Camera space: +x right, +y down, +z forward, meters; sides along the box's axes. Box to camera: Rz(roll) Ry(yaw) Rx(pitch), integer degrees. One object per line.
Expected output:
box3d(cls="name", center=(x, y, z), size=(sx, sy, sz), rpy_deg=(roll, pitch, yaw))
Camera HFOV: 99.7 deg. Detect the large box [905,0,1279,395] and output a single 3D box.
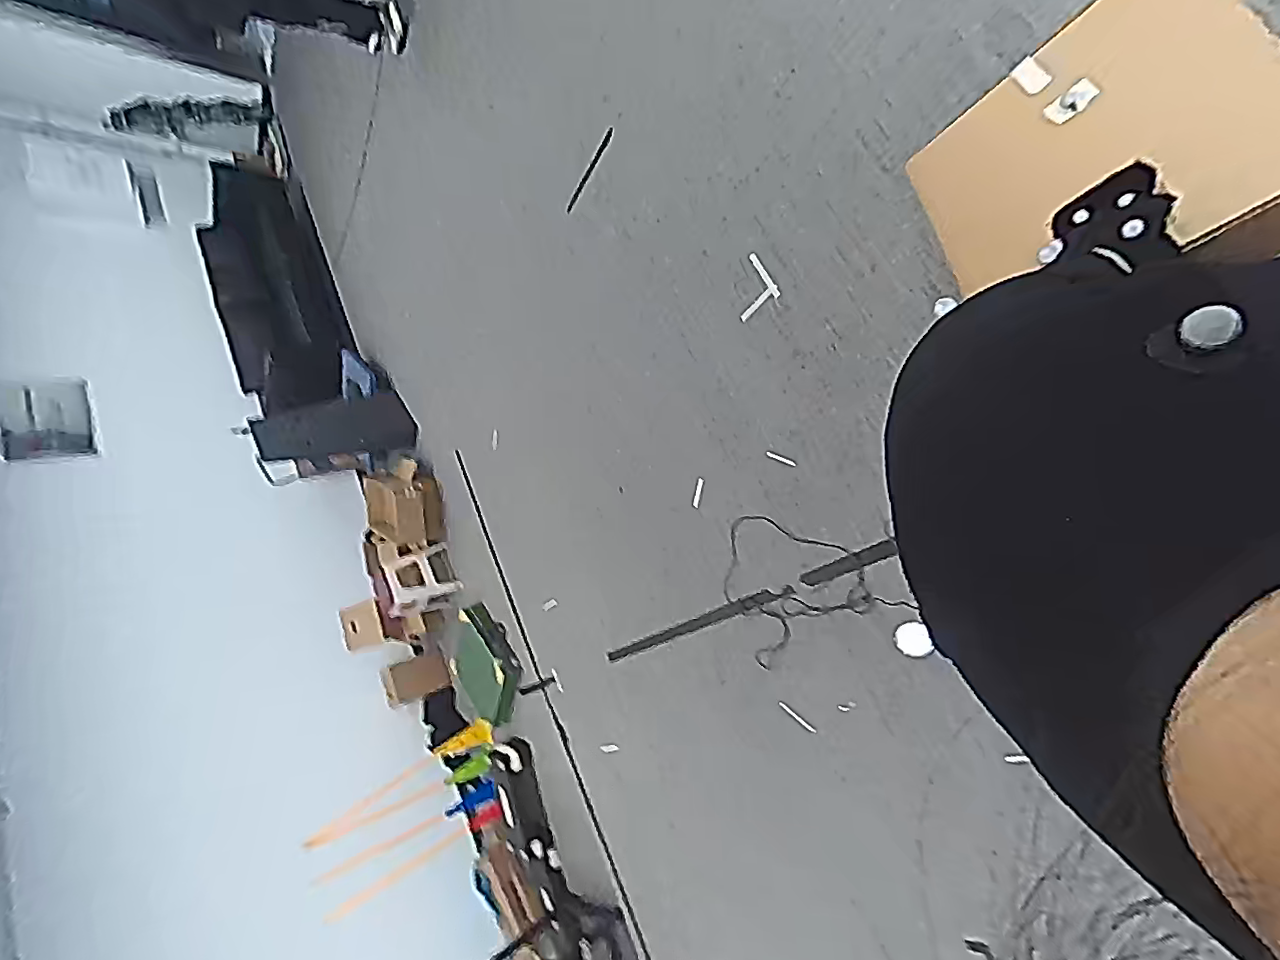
box3d(cls="large box", center=(0.656, -0.347, 0.753), size=(0.320, 0.408, 0.320), rpy_deg=(-33, 63, 46))
